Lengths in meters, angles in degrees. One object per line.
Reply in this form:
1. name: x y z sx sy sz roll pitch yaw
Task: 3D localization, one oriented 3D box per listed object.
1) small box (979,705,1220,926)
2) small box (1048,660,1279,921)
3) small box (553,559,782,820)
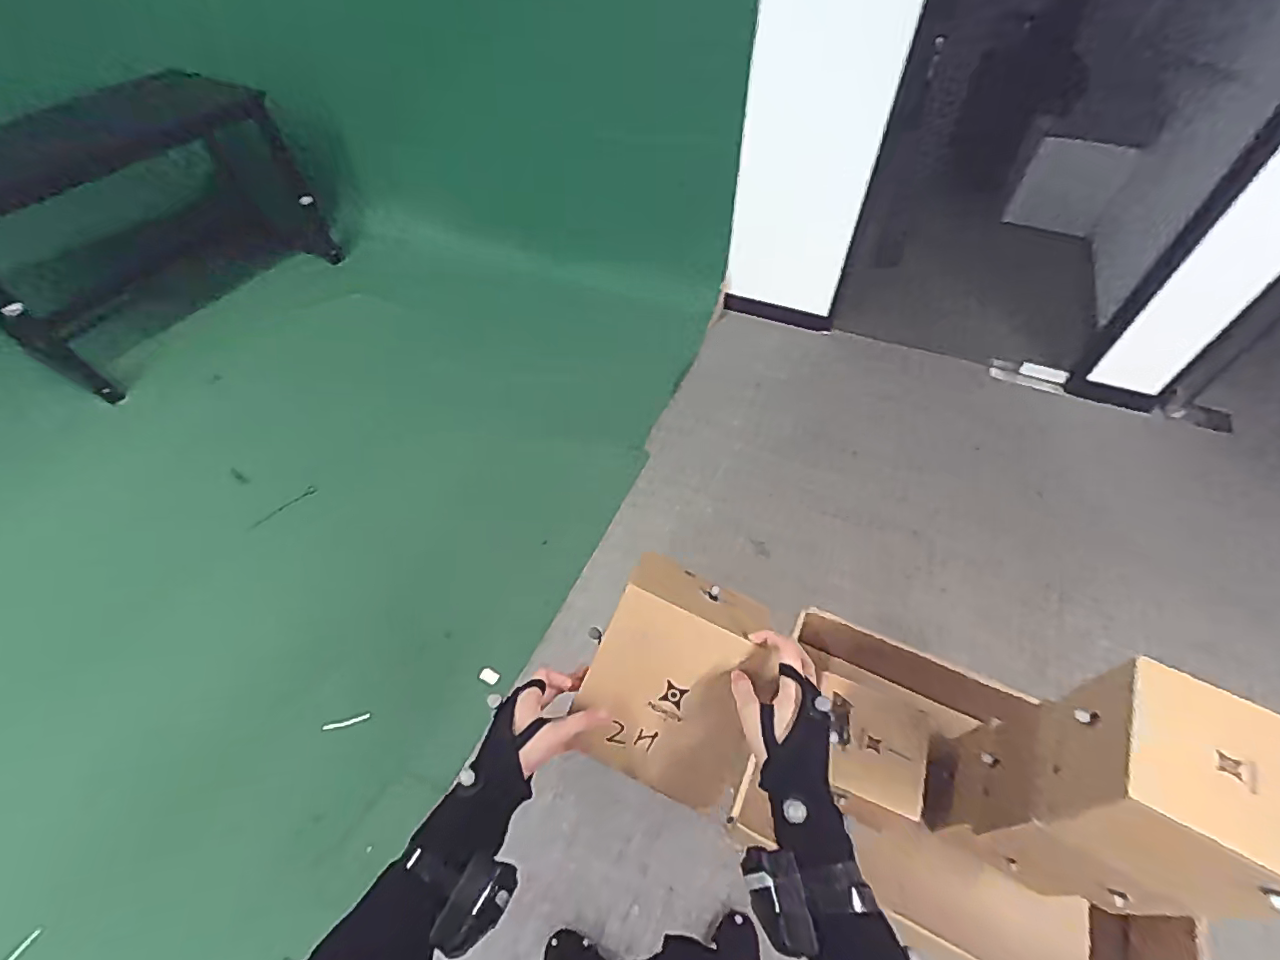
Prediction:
1. small box: 0.582 0.430 0.702 0.179 0.176 0.168 23 57 21
2. small box: 0.578 0.331 0.574 0.179 0.176 0.168 25 57 21
3. small box: 0.030 0.205 0.584 0.168 0.176 0.179 25 97 4
